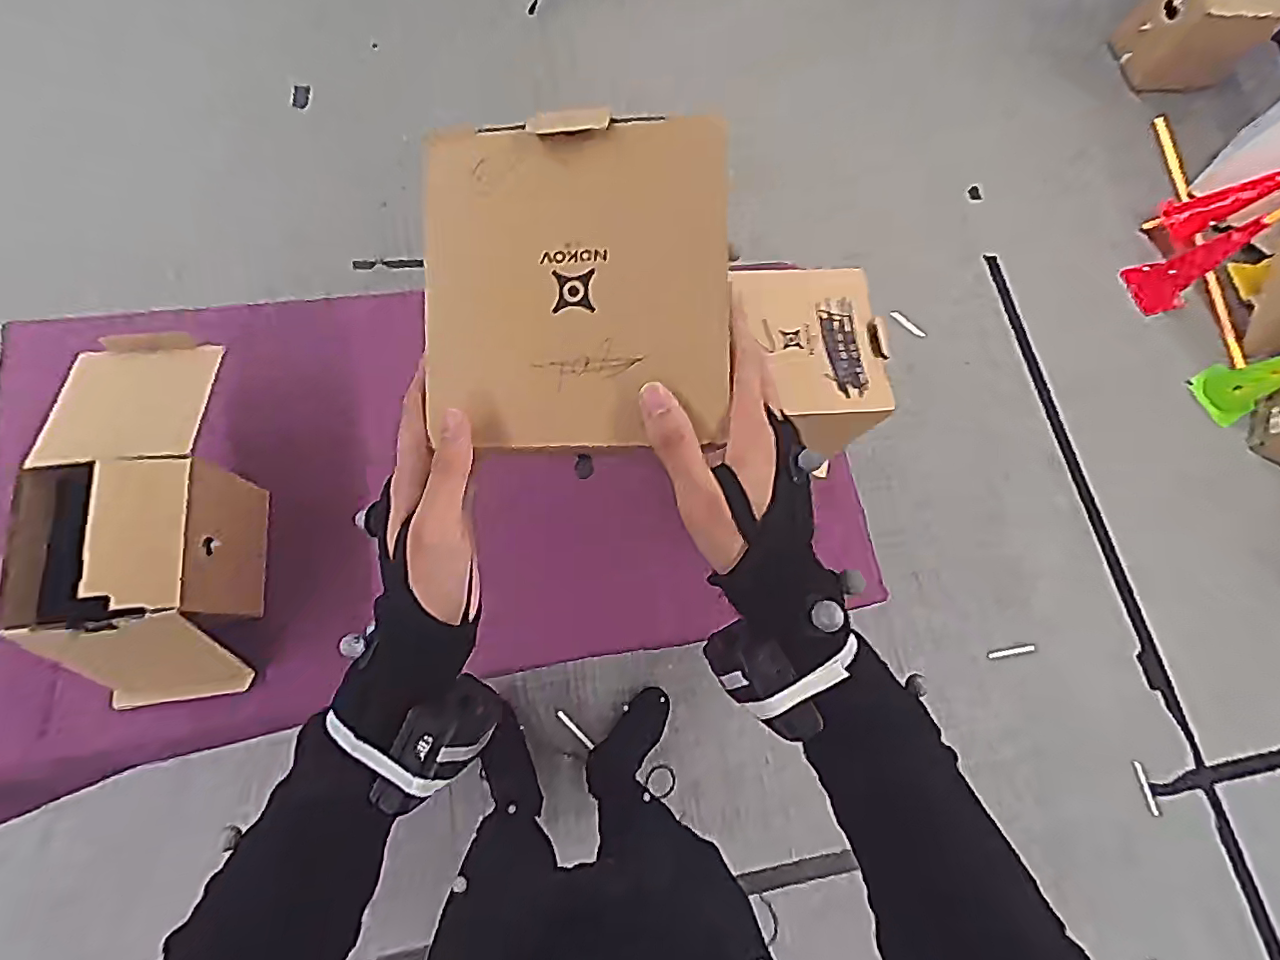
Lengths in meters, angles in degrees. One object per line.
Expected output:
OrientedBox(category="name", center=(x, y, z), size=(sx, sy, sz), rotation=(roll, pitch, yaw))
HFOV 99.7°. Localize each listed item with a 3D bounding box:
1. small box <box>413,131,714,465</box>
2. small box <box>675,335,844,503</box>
OrientedBox(category="small box", center=(-0.038, -0.100, 0.372), size=(0.168, 0.176, 0.179), rotation=(0, 91, 4))
OrientedBox(category="small box", center=(0.164, -0.076, 0.784), size=(0.179, 0.176, 0.168), rotation=(17, 72, -1))
